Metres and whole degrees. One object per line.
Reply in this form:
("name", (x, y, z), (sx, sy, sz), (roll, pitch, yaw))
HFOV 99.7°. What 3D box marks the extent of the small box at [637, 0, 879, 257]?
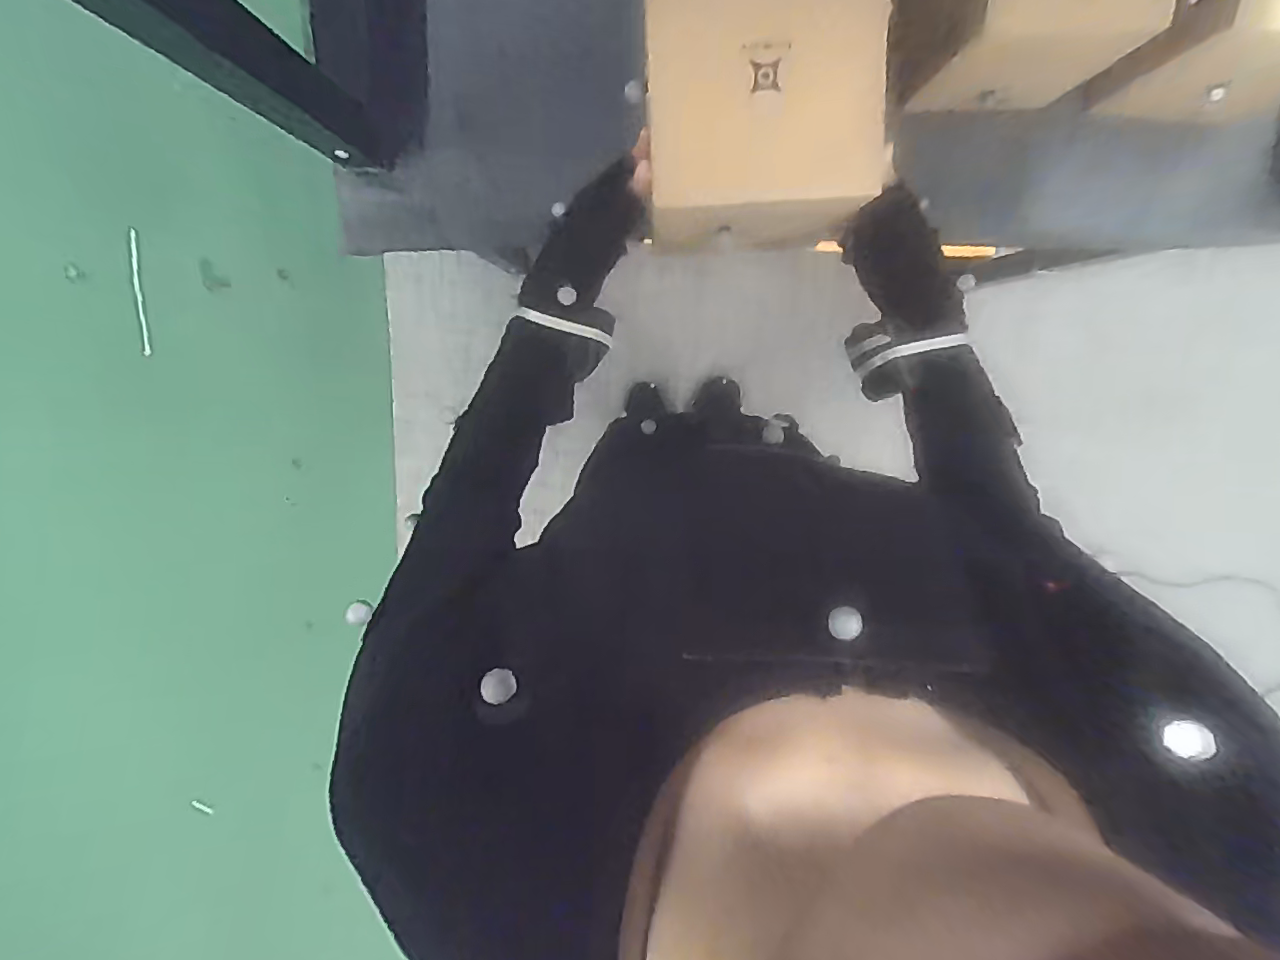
("small box", (0.085, -0.296, 0.455), (0.168, 0.176, 0.179), (-2, 99, 3))
